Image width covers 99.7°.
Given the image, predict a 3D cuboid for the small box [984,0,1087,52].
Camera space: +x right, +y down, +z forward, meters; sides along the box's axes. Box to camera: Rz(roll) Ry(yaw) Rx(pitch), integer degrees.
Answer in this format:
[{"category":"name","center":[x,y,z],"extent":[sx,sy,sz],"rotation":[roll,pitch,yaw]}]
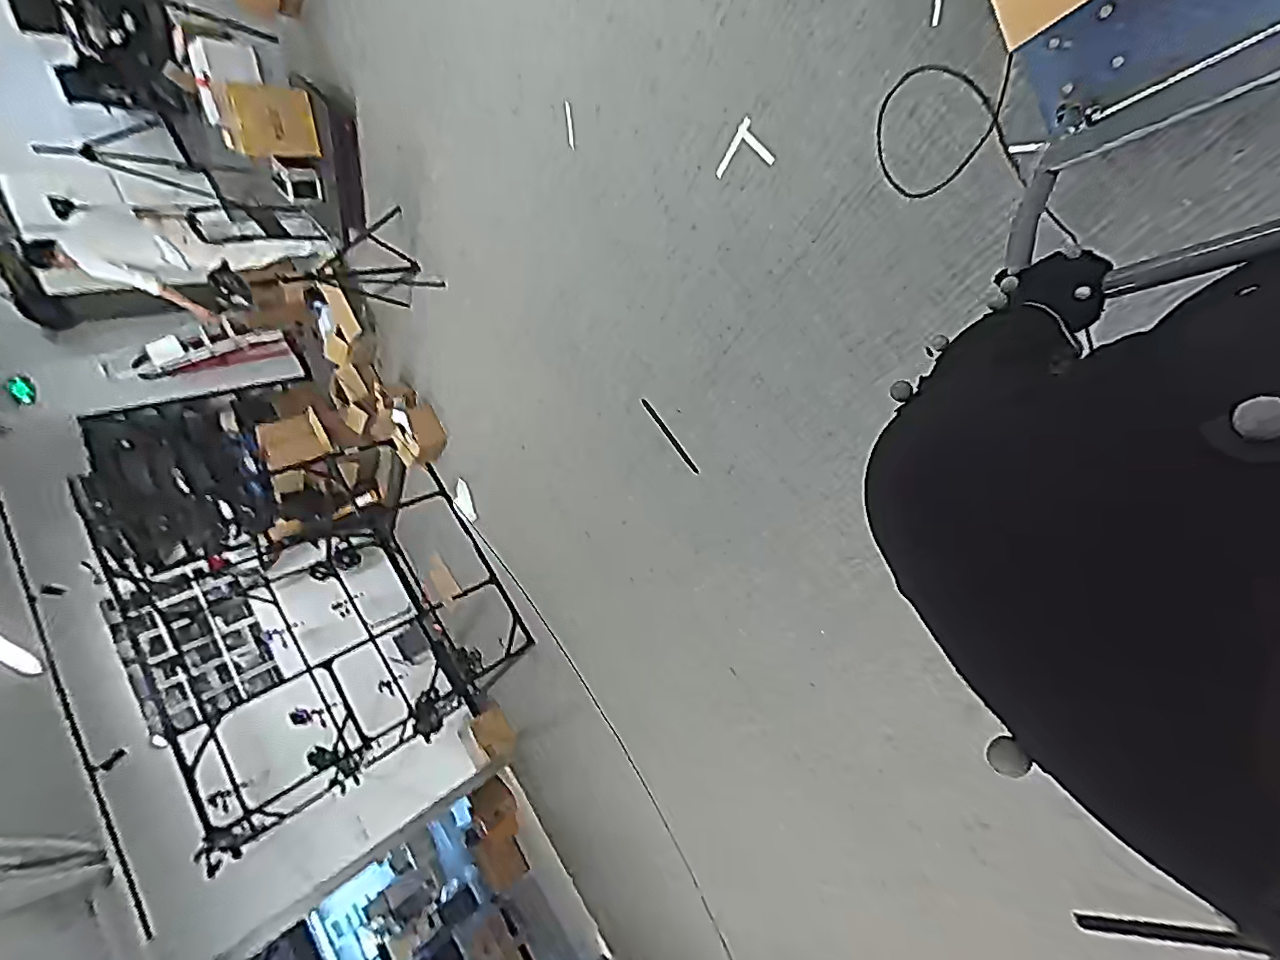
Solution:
[{"category":"small box","center":[0.630,-0.796,0.811],"extent":[0.179,0.176,0.168],"rotation":[-14,116,51]}]
